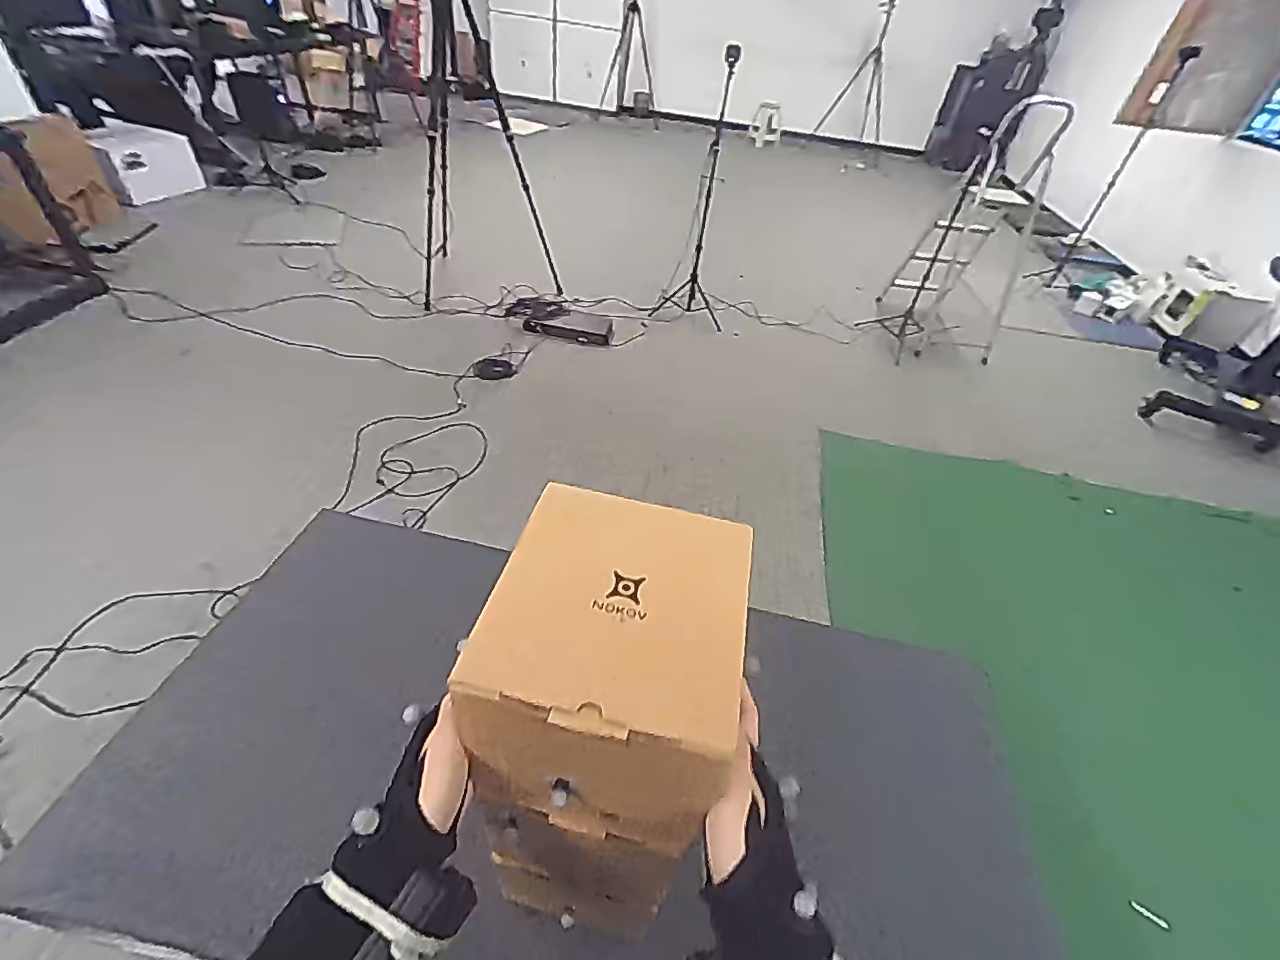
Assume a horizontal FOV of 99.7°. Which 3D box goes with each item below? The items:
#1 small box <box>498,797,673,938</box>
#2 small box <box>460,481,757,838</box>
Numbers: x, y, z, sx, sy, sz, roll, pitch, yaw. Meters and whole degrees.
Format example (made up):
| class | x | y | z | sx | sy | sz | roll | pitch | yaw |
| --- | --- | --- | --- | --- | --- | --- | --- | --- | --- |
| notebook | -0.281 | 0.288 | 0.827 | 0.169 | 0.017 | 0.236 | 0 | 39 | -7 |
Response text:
| class | x | y | z | sx | sy | sz | roll | pitch | yaw |
| --- | --- | --- | --- | --- | --- | --- | --- | --- | --- |
| small box | -0.048 | 0.380 | 0.618 | 0.168 | 0.176 | 0.179 | 13 | 42 | 6 |
| small box | -0.016 | 0.132 | 0.408 | 0.168 | 0.176 | 0.179 | 12 | 42 | 4 |
